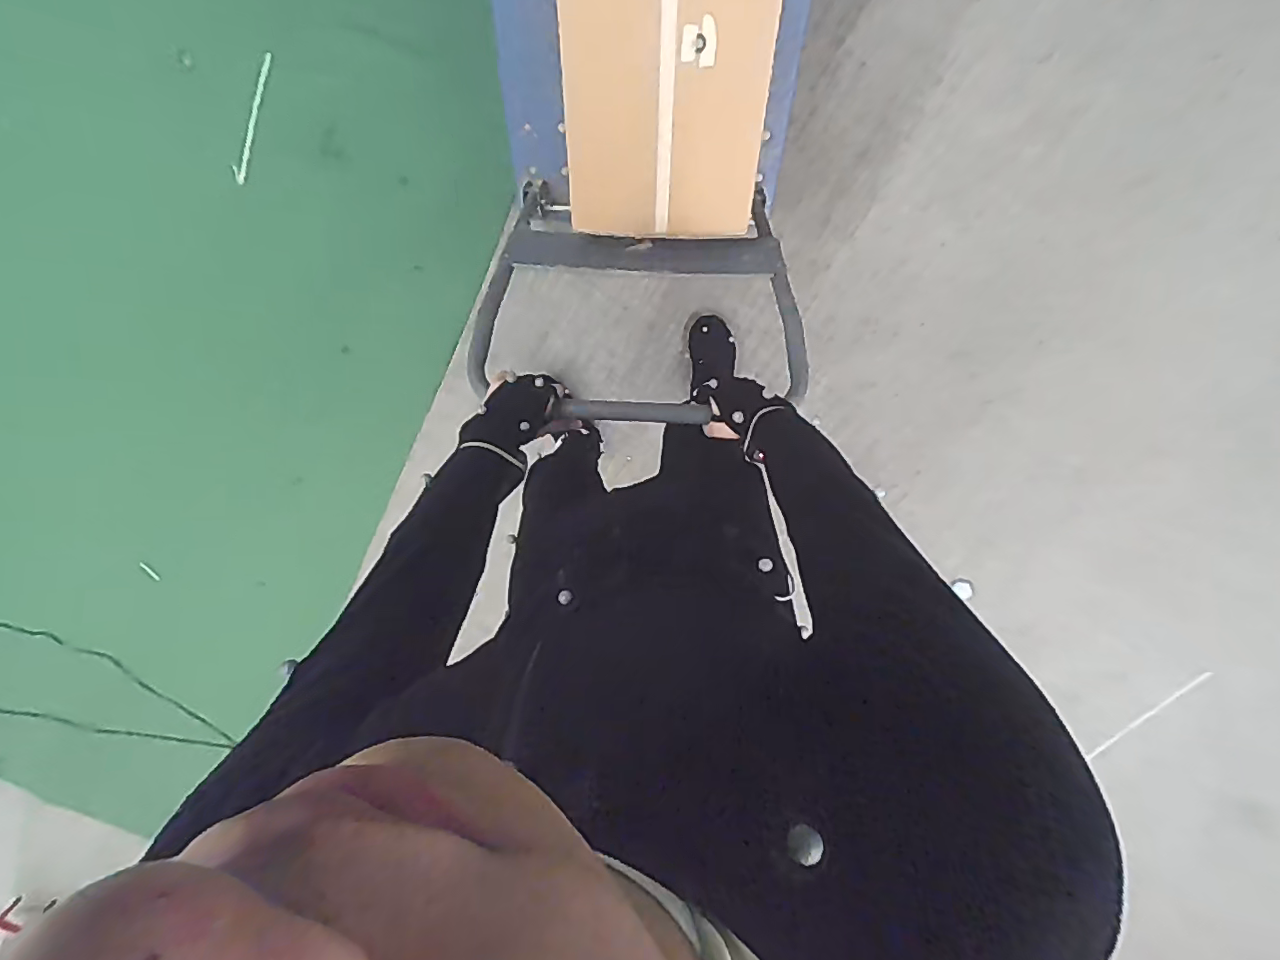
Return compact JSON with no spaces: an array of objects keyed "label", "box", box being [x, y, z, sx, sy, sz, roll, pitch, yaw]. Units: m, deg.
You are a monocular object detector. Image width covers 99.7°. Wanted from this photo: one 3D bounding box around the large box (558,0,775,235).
[{"label":"large box","box":[0.042,-0.692,0.952,0.320,0.320,0.408,2,133,0]}]
